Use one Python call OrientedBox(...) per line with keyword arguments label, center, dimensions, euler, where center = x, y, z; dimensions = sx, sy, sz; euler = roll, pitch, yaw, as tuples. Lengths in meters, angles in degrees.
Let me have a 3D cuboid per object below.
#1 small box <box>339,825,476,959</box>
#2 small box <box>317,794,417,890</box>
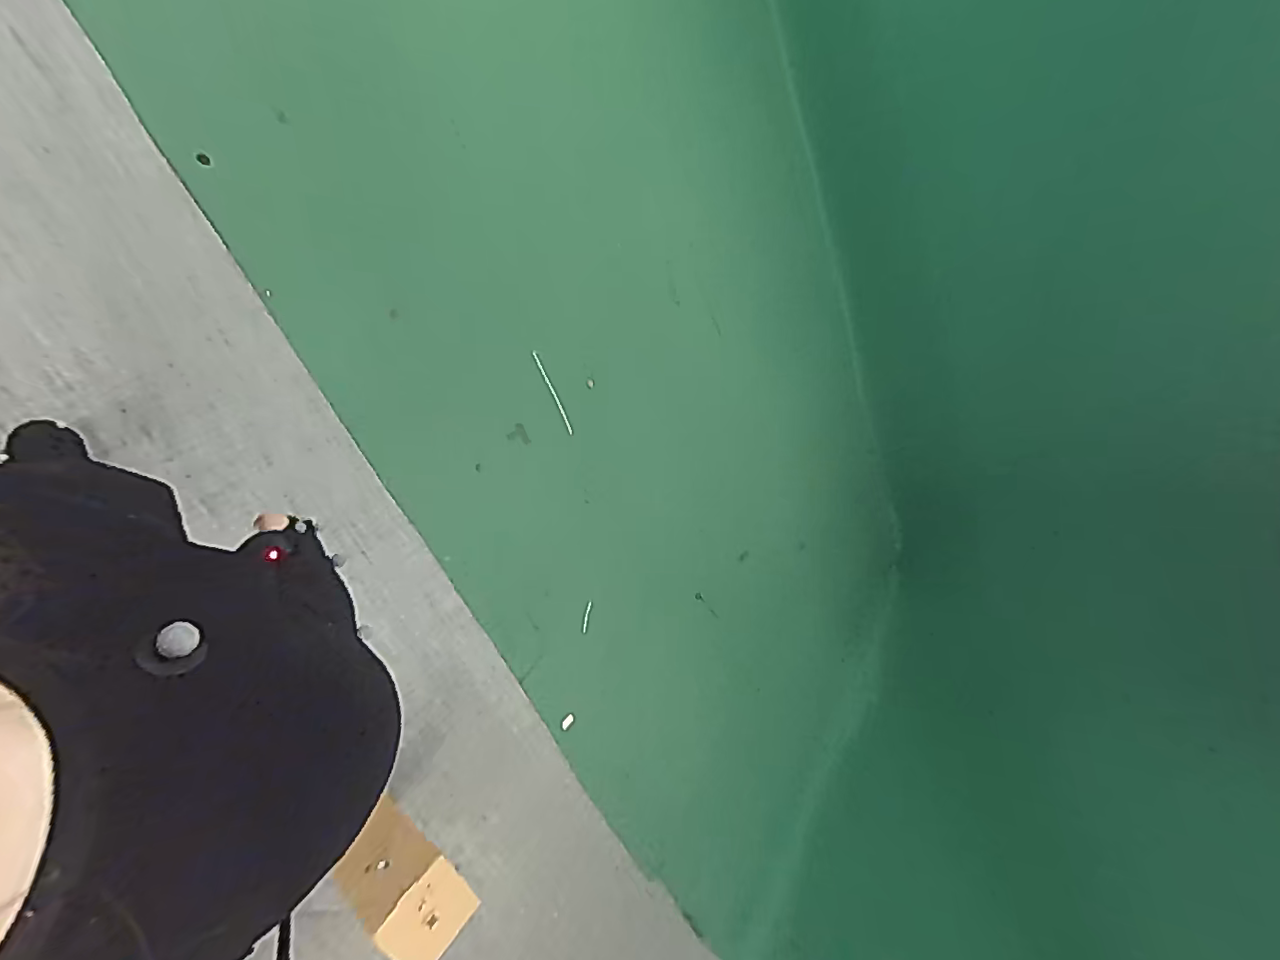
OrientedBox(label="small box", center=(-0.482, 0.864, 1.123), dimensions=(0.168, 0.176, 0.179), euler=(-42, 119, -39))
OrientedBox(label="small box", center=(-0.598, 0.866, 1.240), dimensions=(0.168, 0.176, 0.179), euler=(-42, 118, -39))
